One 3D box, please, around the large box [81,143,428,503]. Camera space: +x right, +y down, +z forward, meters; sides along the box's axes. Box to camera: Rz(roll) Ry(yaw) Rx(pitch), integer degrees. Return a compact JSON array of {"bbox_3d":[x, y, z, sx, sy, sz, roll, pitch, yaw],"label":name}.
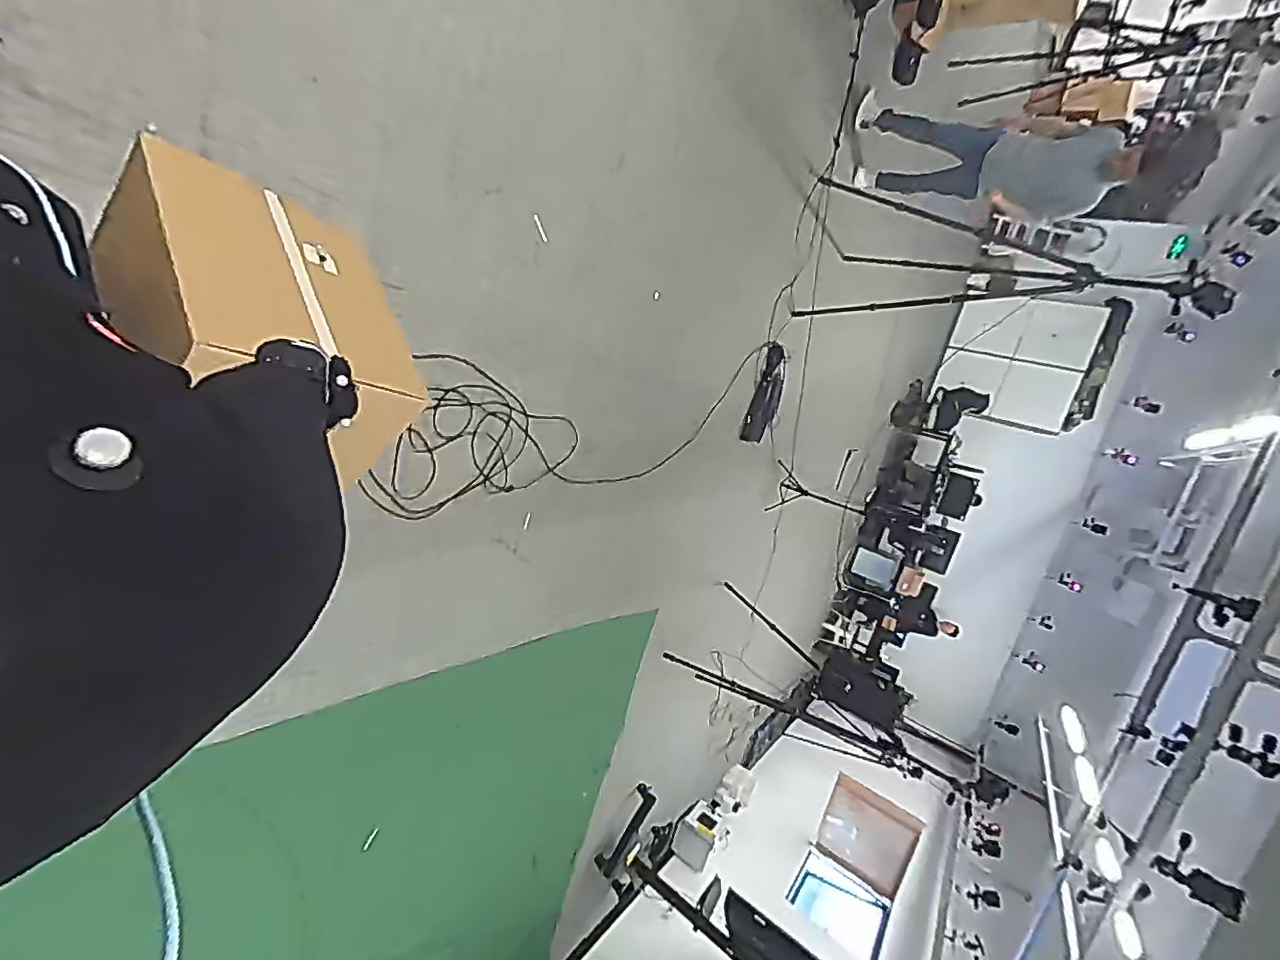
[{"bbox_3d":[-0.615,-0.209,0.861,0.320,0.408,0.320,-40,157,21],"label":"large box"}]
